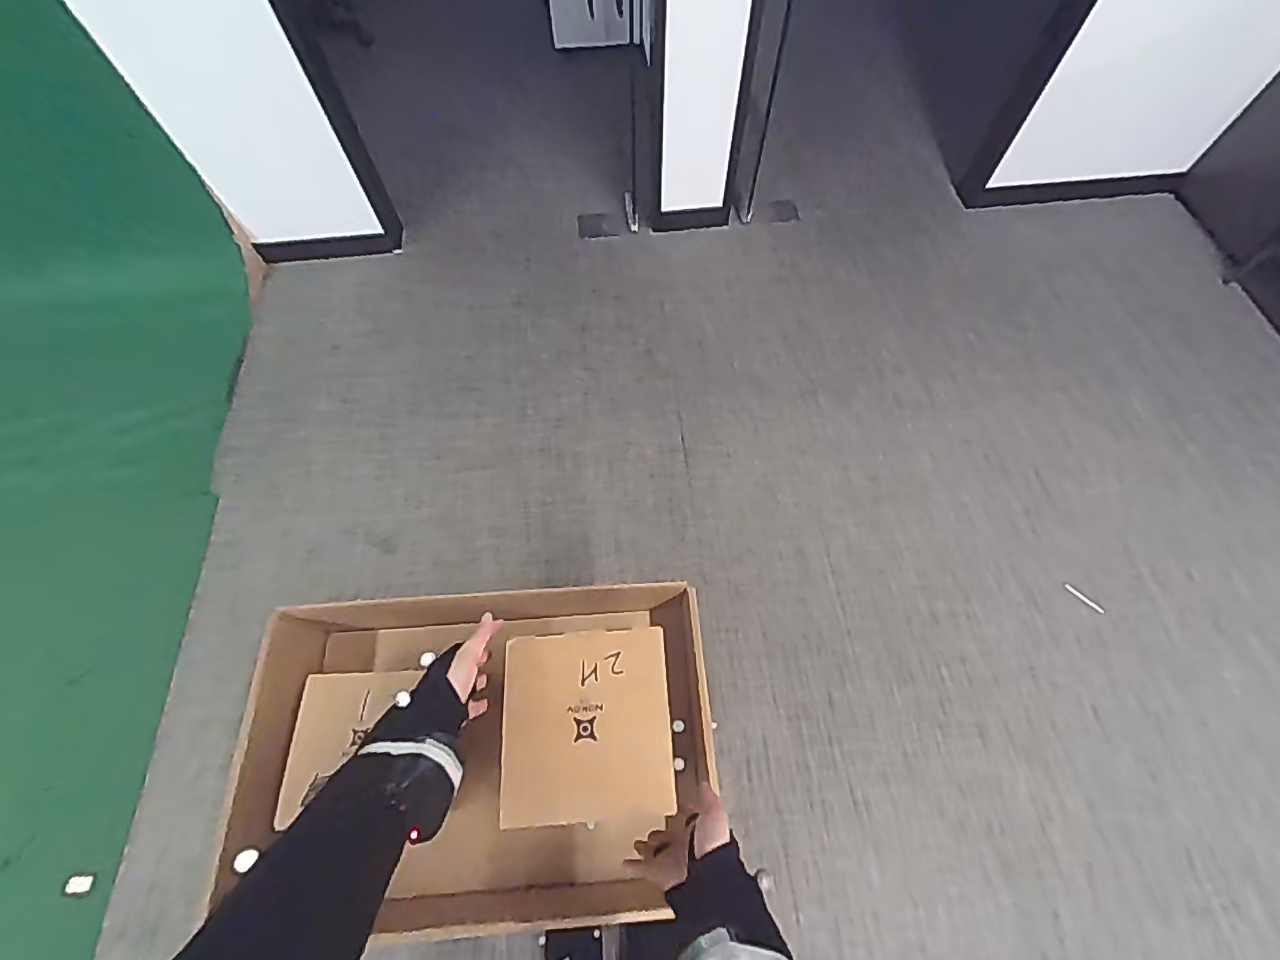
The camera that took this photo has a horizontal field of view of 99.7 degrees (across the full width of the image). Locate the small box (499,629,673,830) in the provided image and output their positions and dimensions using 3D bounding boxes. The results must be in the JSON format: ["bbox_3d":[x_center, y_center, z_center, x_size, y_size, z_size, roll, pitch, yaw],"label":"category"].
[{"bbox_3d":[-0.051,0.273,0.604,0.168,0.176,0.179,-3,63,-1],"label":"small box"}]
